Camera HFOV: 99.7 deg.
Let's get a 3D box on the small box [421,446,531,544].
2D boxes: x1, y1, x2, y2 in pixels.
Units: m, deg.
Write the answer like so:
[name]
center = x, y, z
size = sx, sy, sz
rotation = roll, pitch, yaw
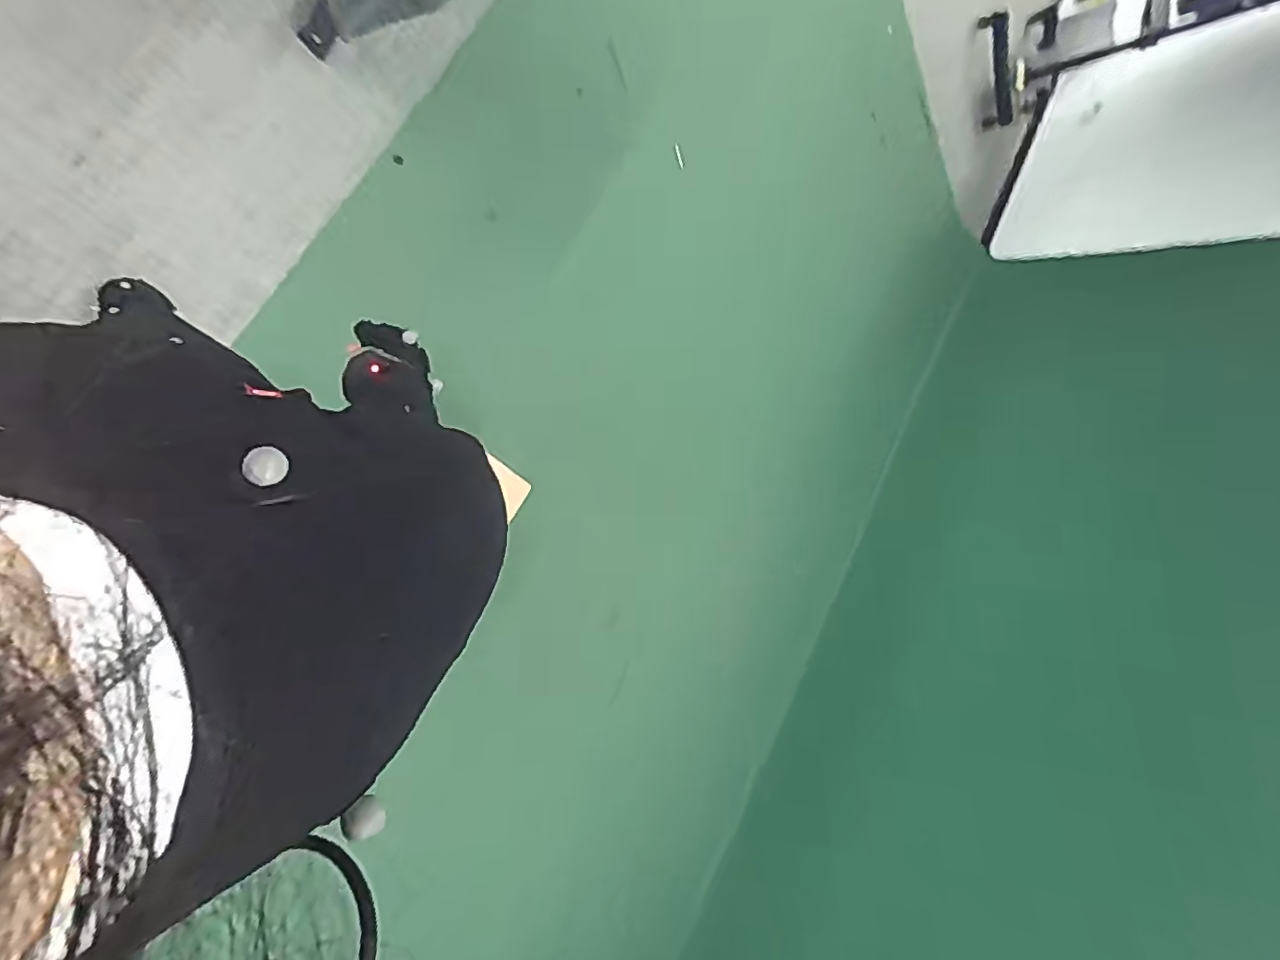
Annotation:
[small box]
center = -0.418, 0.032, 1.362
size = 0.168, 0.176, 0.179
rotation = 44, 70, -40
